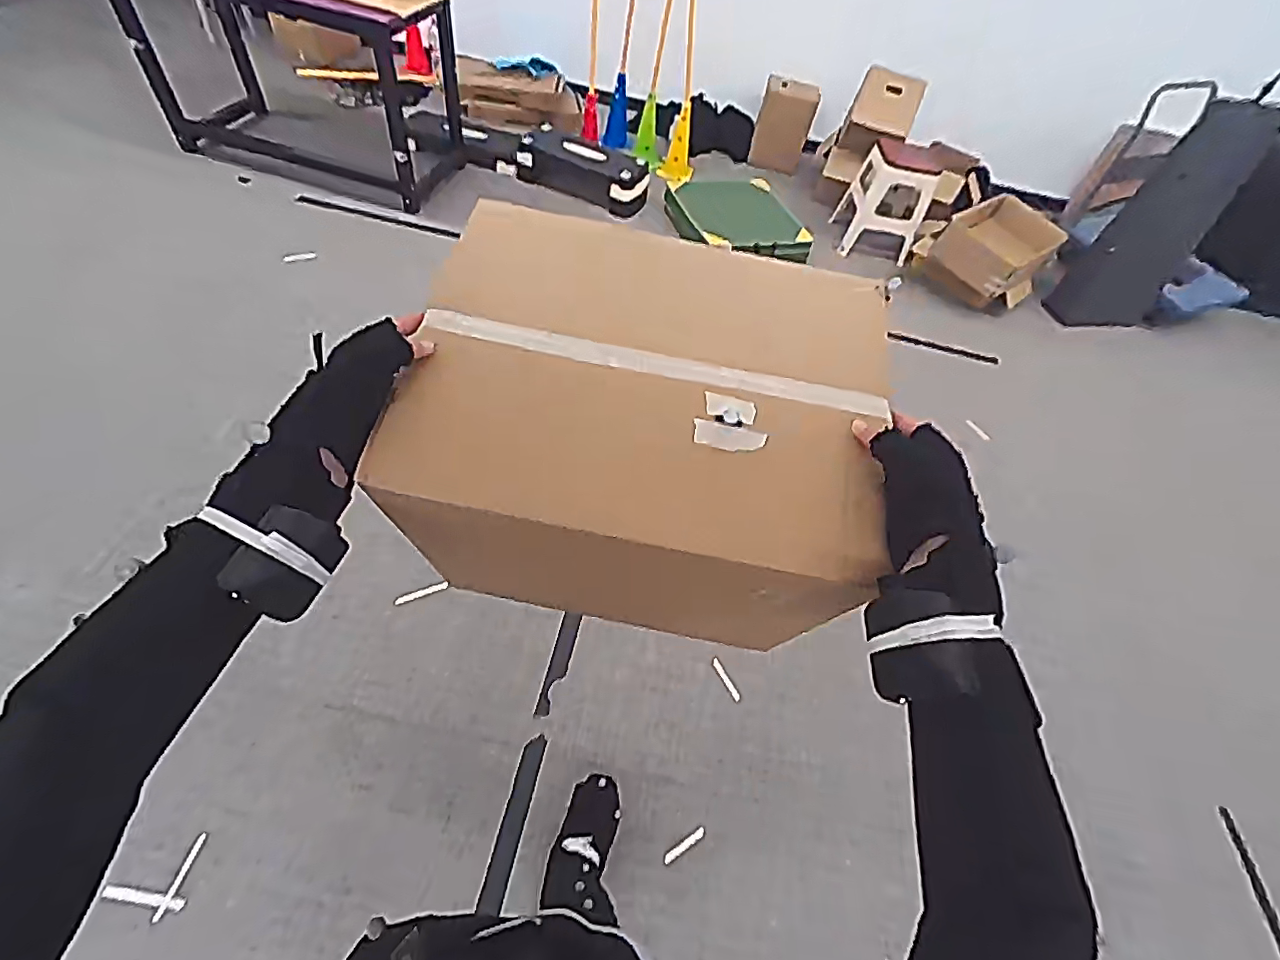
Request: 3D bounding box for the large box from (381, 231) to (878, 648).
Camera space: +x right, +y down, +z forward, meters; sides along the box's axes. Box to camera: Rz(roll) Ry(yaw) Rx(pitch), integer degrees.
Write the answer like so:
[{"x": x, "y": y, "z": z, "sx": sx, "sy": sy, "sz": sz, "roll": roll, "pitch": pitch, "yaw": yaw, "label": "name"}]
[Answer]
[{"x": 0.000, "y": -0.019, "z": 0.617, "sx": 0.408, "sy": 0.320, "sz": 0.320, "roll": 12, "pitch": 64, "yaw": -1, "label": "large box"}]
